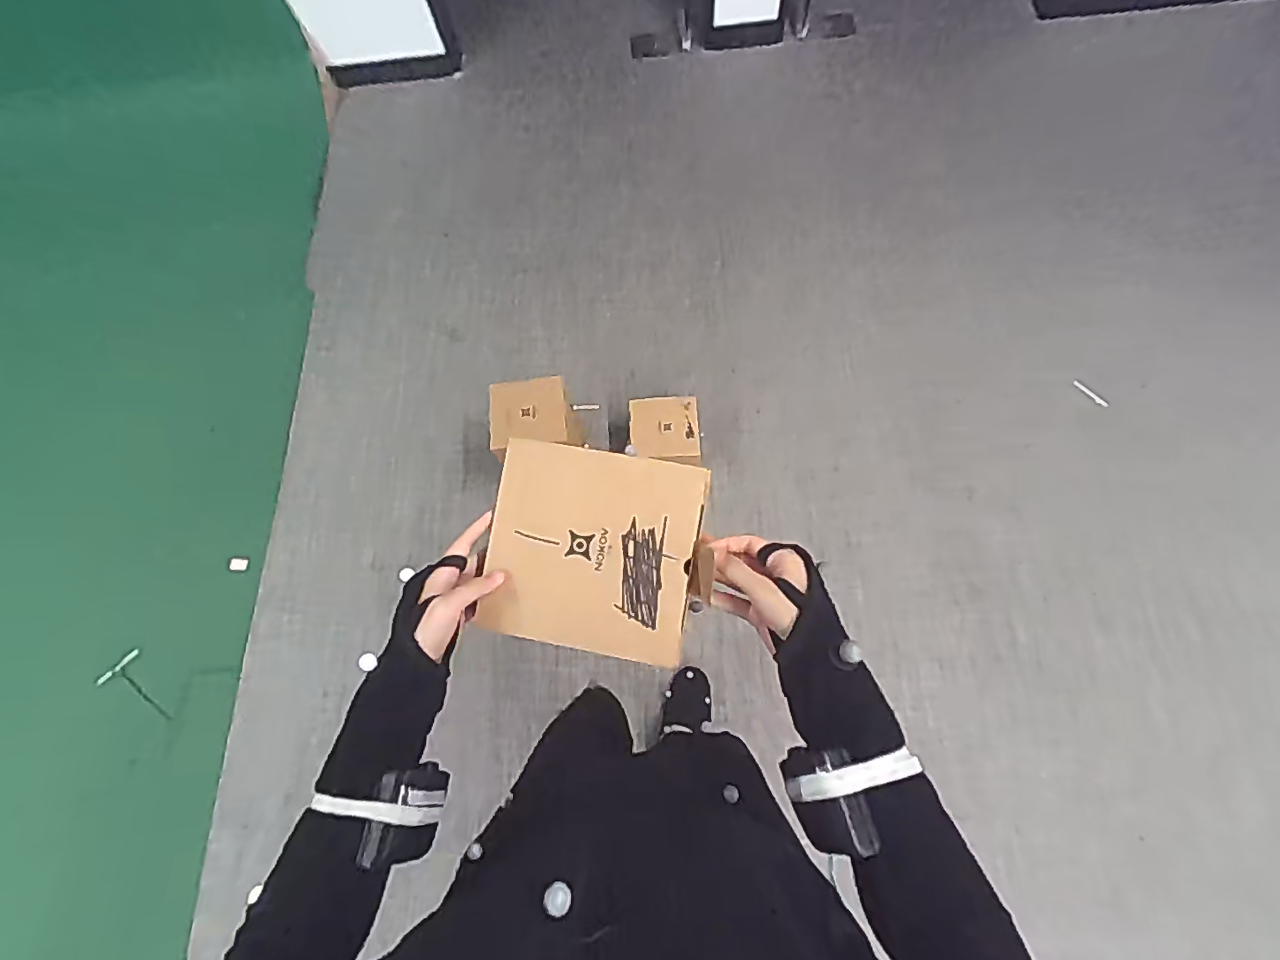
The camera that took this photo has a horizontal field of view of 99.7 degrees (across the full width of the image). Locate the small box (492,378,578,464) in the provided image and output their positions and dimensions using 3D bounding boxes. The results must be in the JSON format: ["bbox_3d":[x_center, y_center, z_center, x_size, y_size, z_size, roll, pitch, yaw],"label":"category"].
[{"bbox_3d":[-0.246,-0.128,1.308,0.179,0.176,0.168,-6,71,3],"label":"small box"}]

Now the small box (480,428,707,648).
[{"bbox_3d":[-0.032,0.054,0.543,0.179,0.176,0.168,9,85,8],"label":"small box"}]
